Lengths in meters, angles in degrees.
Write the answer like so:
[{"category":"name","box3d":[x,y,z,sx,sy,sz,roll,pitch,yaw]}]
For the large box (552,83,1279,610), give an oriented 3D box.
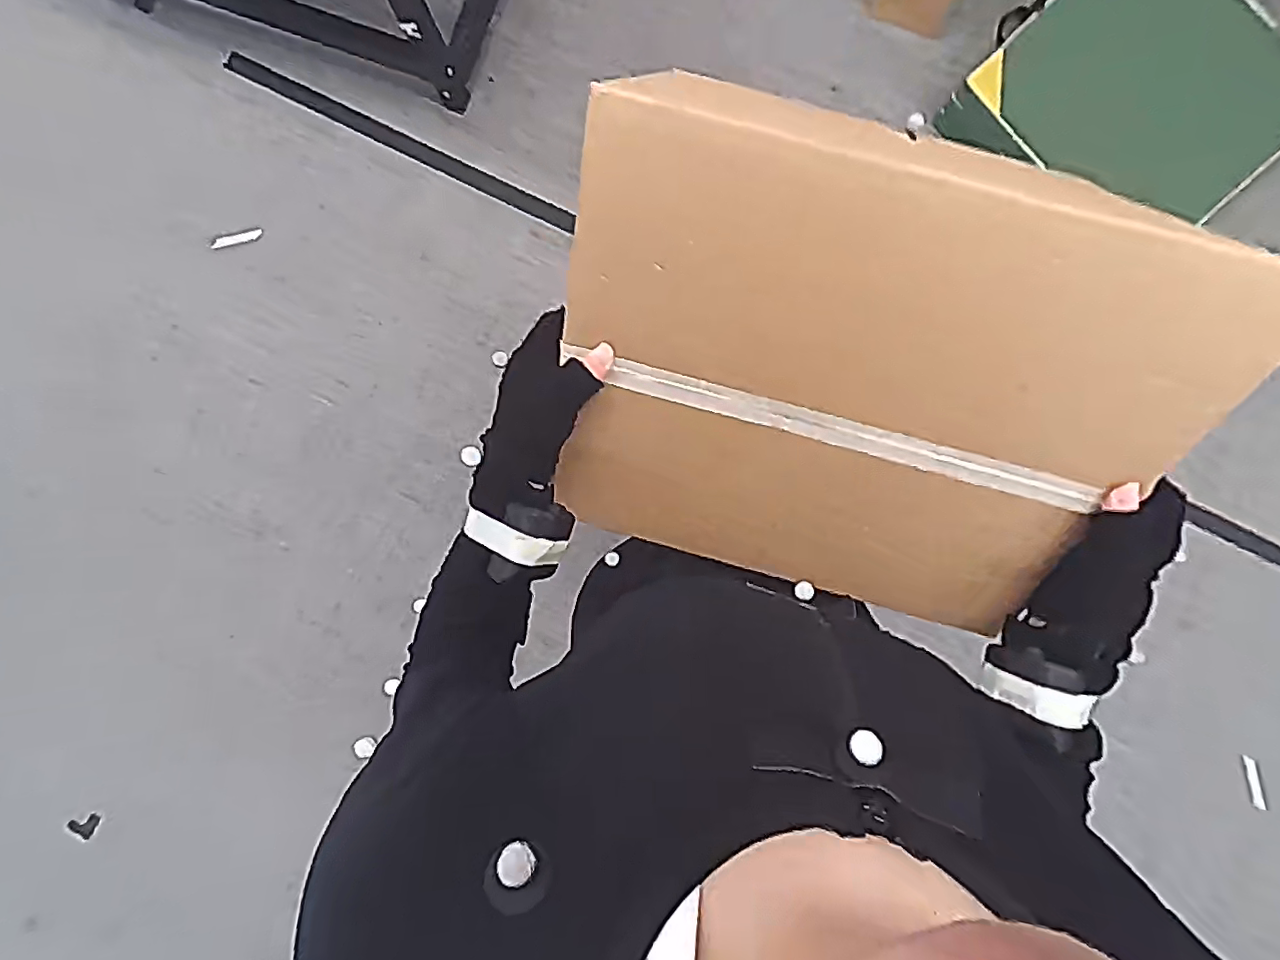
[{"category":"large box","box3d":[0.166,-0.136,0.508,0.408,0.320,0.320,16,129,1]}]
